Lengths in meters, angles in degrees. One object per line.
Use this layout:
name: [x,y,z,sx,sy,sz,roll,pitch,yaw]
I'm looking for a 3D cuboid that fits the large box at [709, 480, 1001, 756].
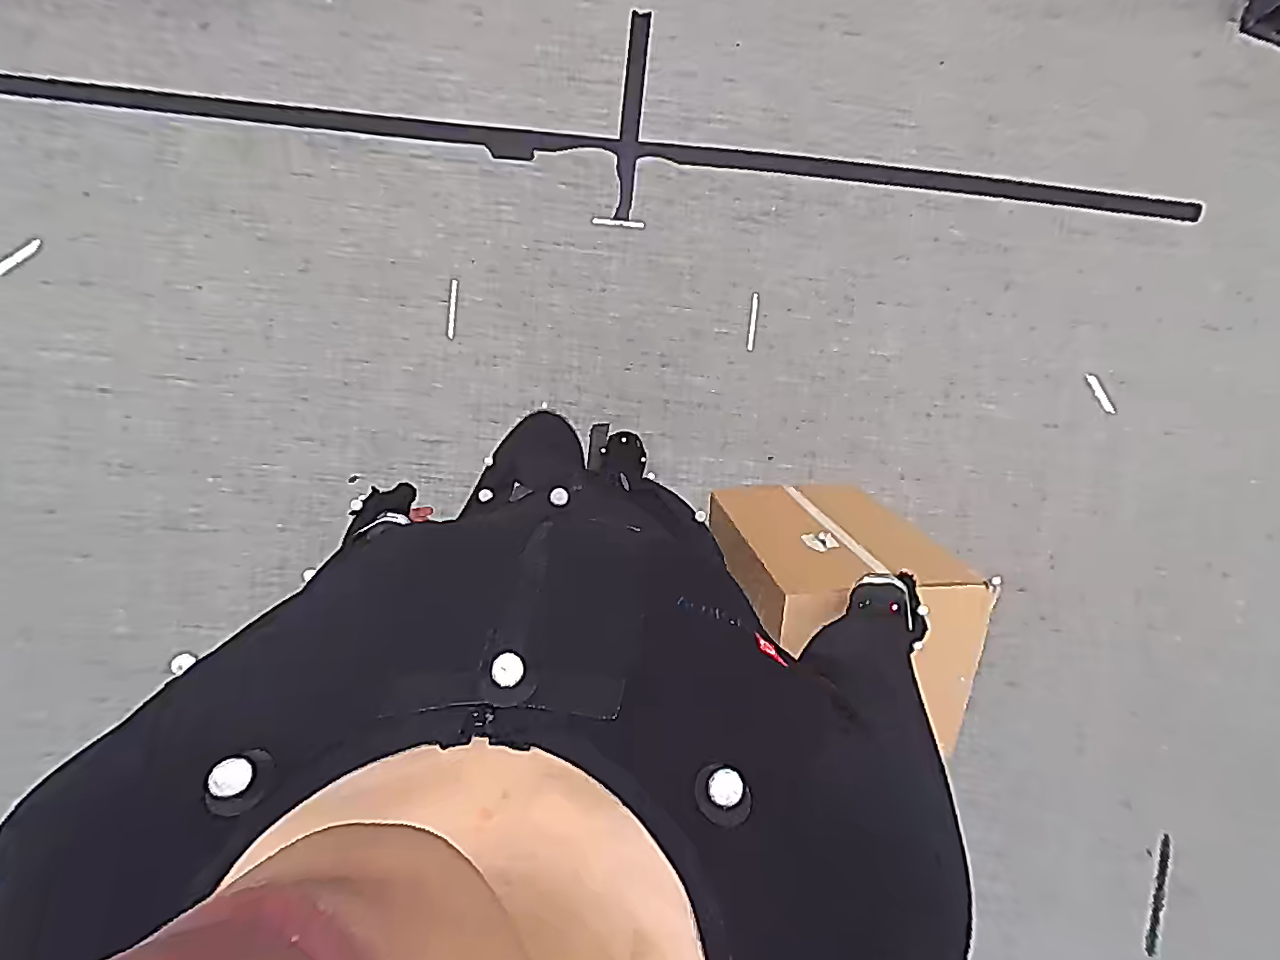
large box: [0.332,0.214,0.980,0.320,0.408,0.320,-2,111,-7]
